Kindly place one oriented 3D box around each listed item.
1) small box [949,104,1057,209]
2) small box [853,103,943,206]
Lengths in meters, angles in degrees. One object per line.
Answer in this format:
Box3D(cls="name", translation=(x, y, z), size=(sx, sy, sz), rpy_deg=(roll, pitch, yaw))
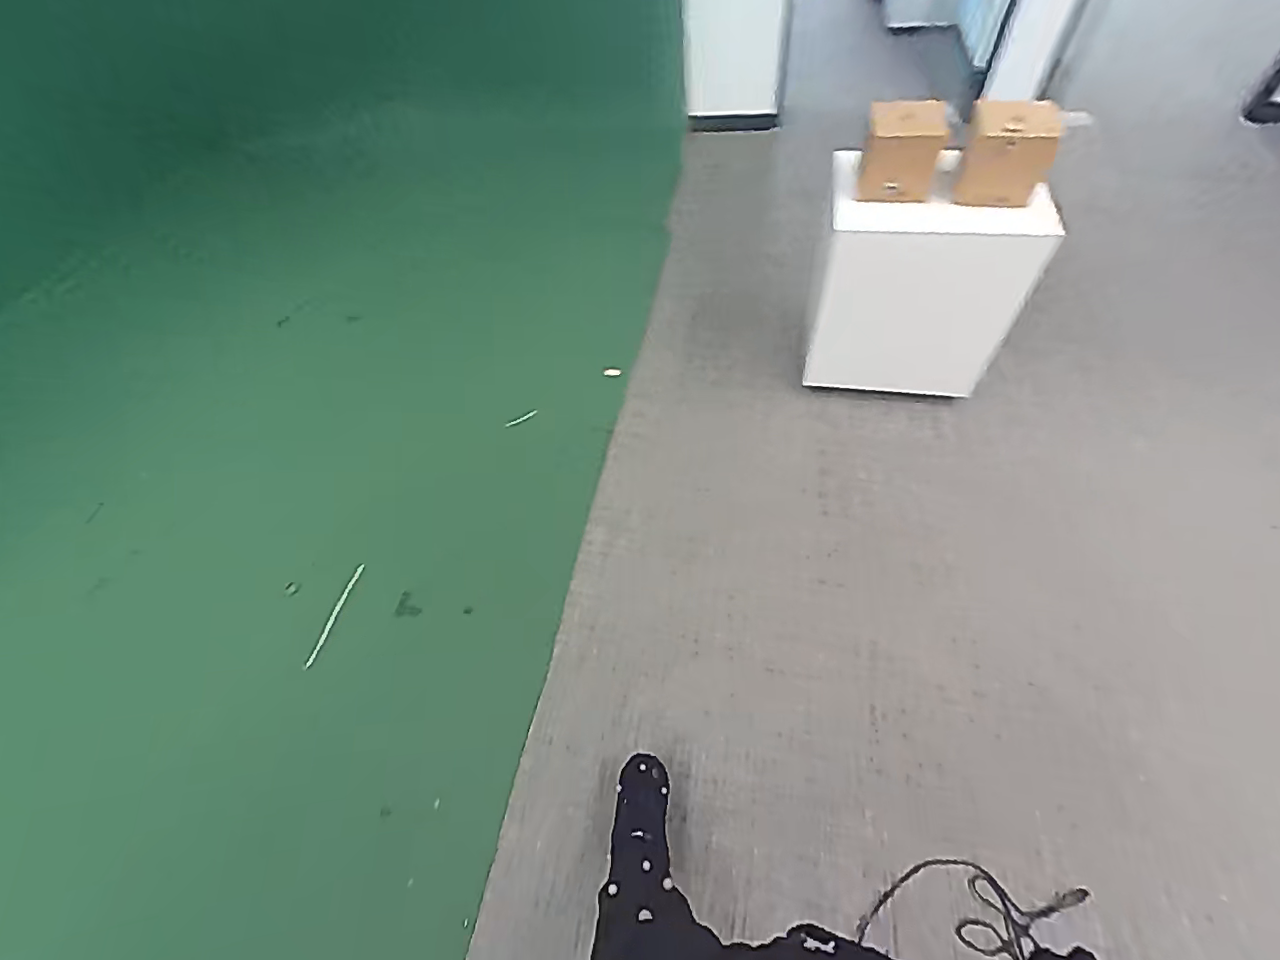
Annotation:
Box3D(cls="small box", translation=(0.877, -0.793, 1.326), size=(0.168, 0.176, 0.179), rpy_deg=(9, 57, 14))
Box3D(cls="small box", translation=(0.649, -0.828, 1.380), size=(0.168, 0.176, 0.179), rpy_deg=(4, 58, 11))
